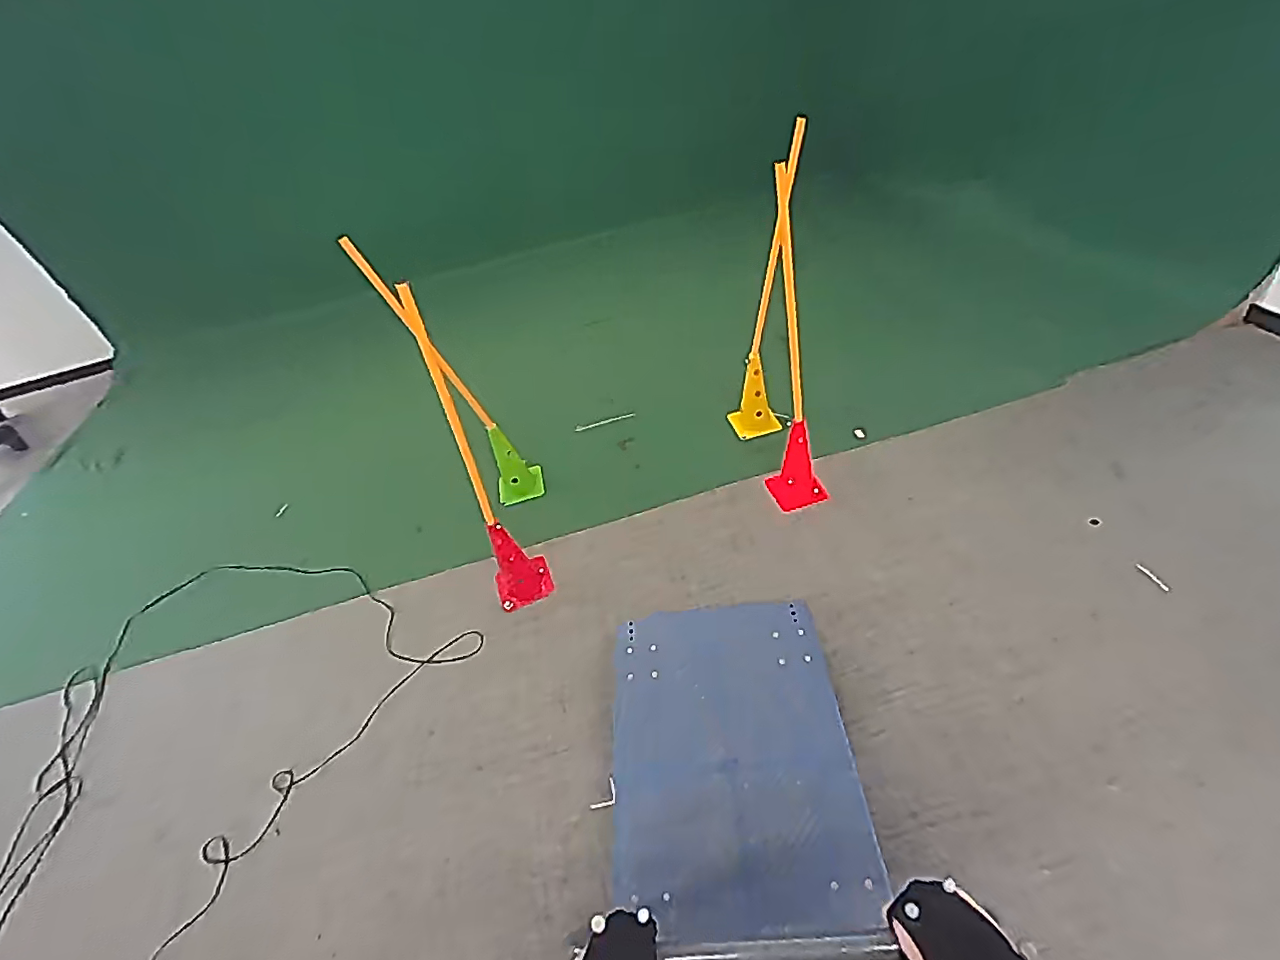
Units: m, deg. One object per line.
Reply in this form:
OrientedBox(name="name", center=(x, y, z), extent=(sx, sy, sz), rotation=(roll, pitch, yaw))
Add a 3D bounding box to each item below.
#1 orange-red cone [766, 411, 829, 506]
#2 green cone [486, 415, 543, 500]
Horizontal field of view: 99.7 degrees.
OrientedBox(name="orange-red cone", center=(0.589, -0.106, 2.012), extent=(0.198, 0.360, 0.199), rotation=(-16, 42, -4))
OrientedBox(name="green cone", center=(-0.566, -0.120, 2.298), extent=(0.200, 0.368, 0.202), rotation=(-17, 43, -3))
